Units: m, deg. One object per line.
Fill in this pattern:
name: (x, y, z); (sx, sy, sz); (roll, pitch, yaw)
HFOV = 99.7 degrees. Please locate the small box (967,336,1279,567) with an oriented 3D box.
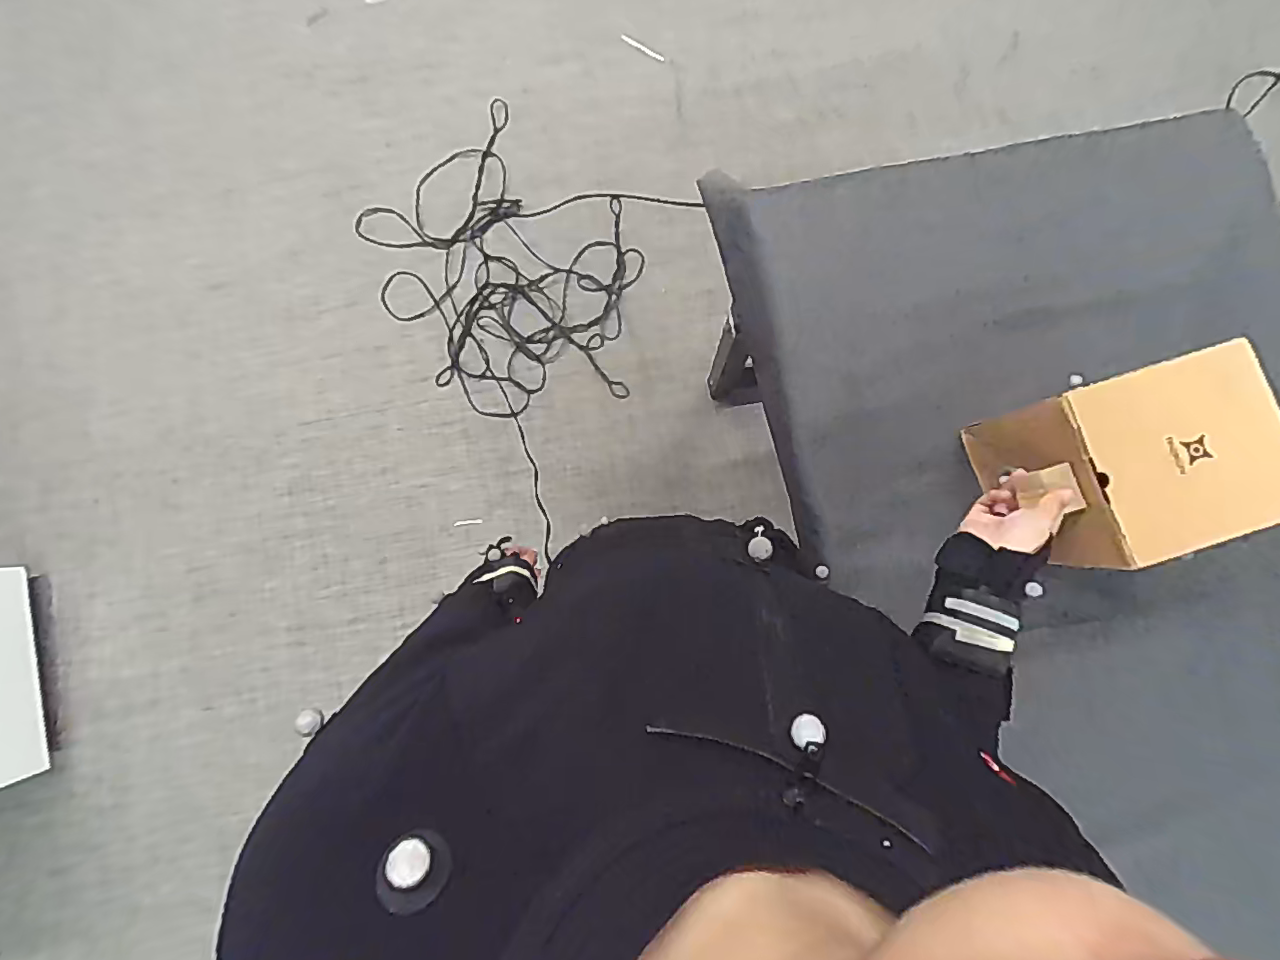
small box: (0.488, -0.021, 0.557); (0.179, 0.176, 0.168); (-19, 85, 0)
